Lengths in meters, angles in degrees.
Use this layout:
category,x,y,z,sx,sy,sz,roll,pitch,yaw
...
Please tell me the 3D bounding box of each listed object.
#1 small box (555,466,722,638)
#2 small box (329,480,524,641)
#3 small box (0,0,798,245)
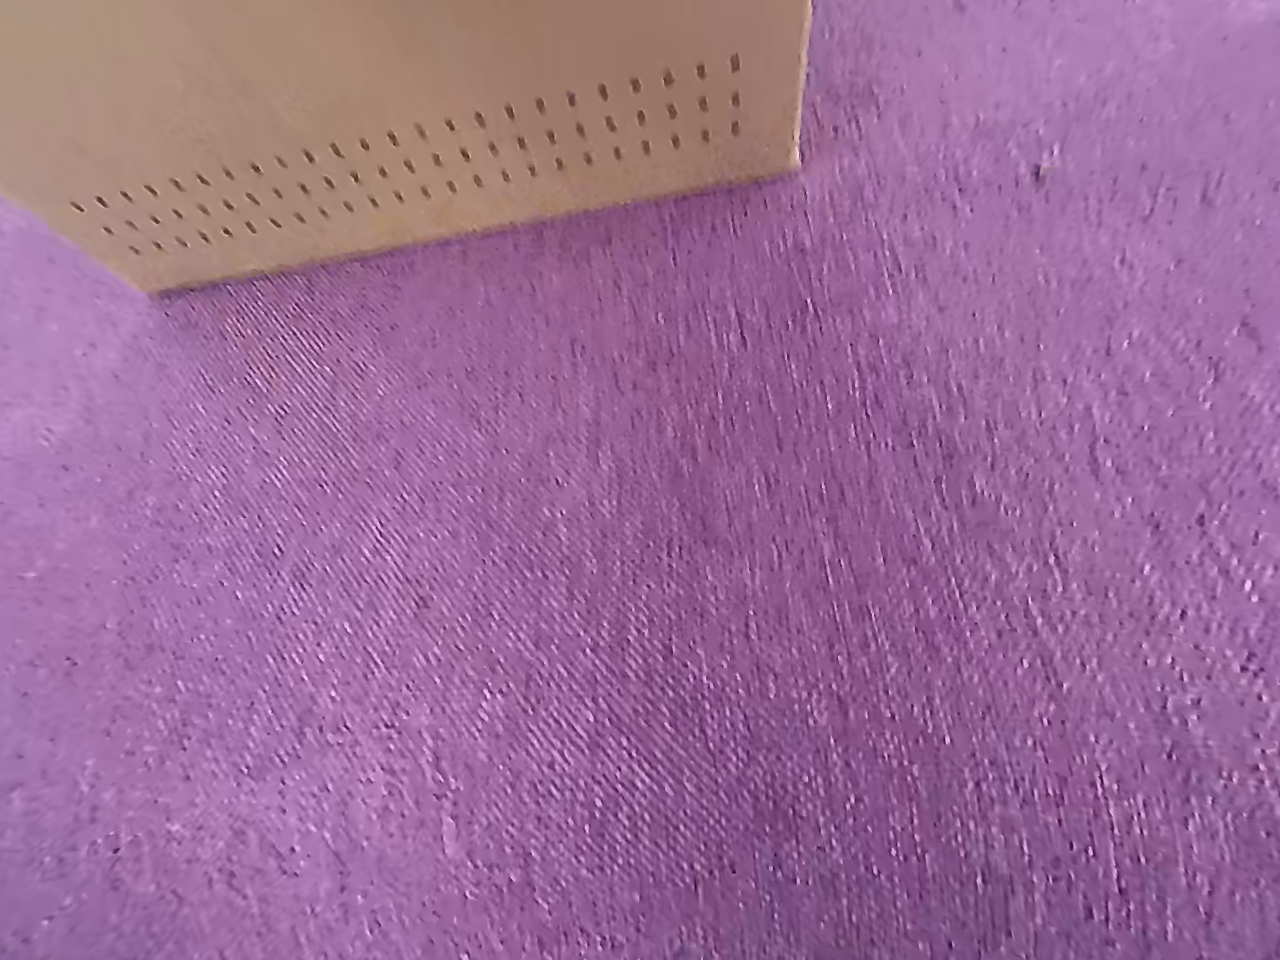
category,x,y,z,sx,sy,sz,roll,pitch,yaw
small box,0.006,0.096,0.654,0.179,0.176,0.168,-5,68,5
small box,-0.257,0.111,0.697,0.179,0.176,0.168,-8,68,7
small box,-0.060,-0.175,0.098,0.179,0.176,0.168,-7,65,8
